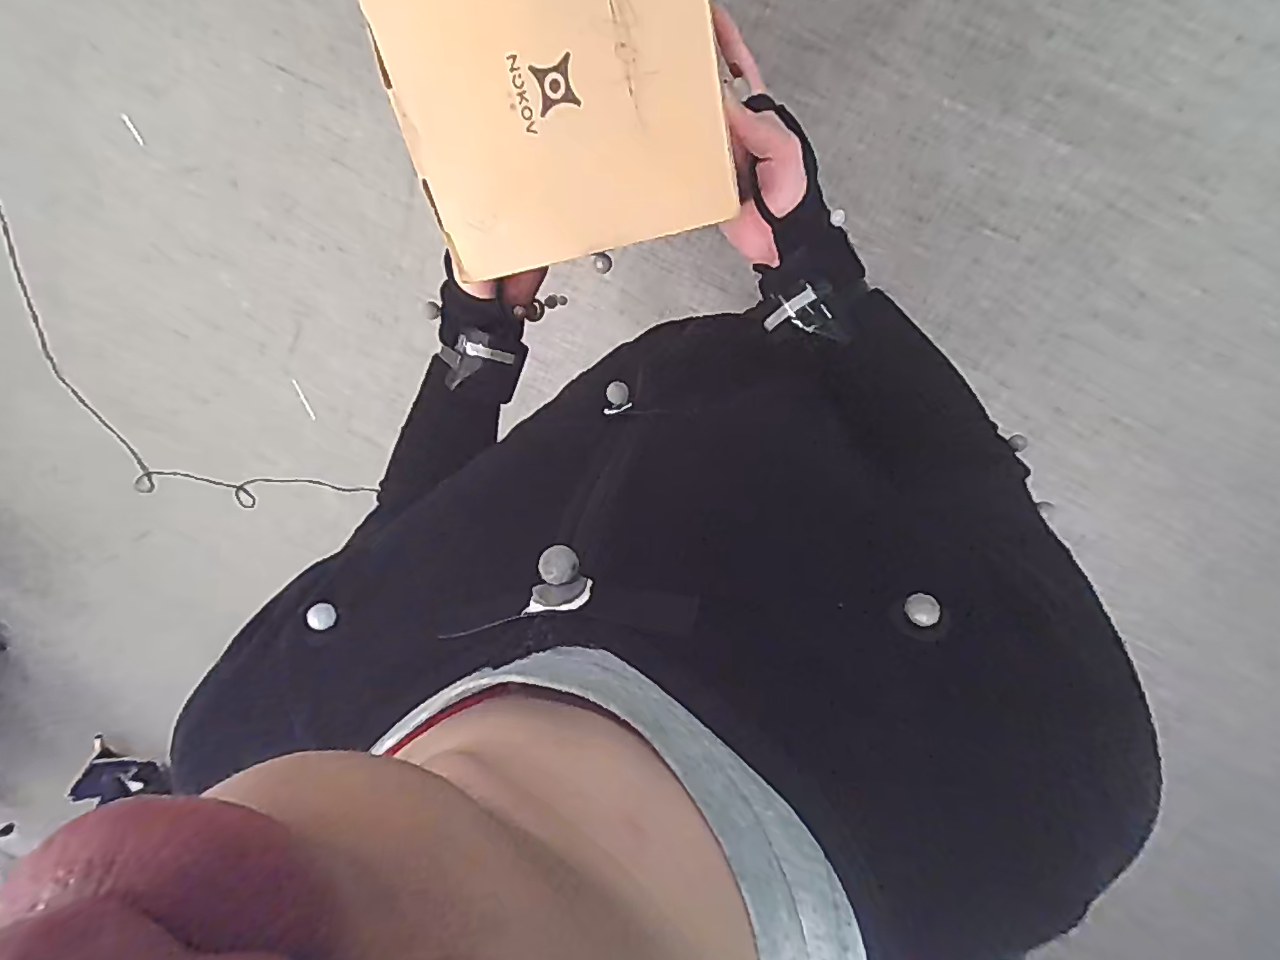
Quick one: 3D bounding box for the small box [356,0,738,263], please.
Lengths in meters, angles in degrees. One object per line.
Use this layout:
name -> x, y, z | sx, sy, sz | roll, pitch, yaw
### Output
small box -> -0.036, -0.249, 0.340 | 0.179, 0.176, 0.168 | -8, 118, 14
